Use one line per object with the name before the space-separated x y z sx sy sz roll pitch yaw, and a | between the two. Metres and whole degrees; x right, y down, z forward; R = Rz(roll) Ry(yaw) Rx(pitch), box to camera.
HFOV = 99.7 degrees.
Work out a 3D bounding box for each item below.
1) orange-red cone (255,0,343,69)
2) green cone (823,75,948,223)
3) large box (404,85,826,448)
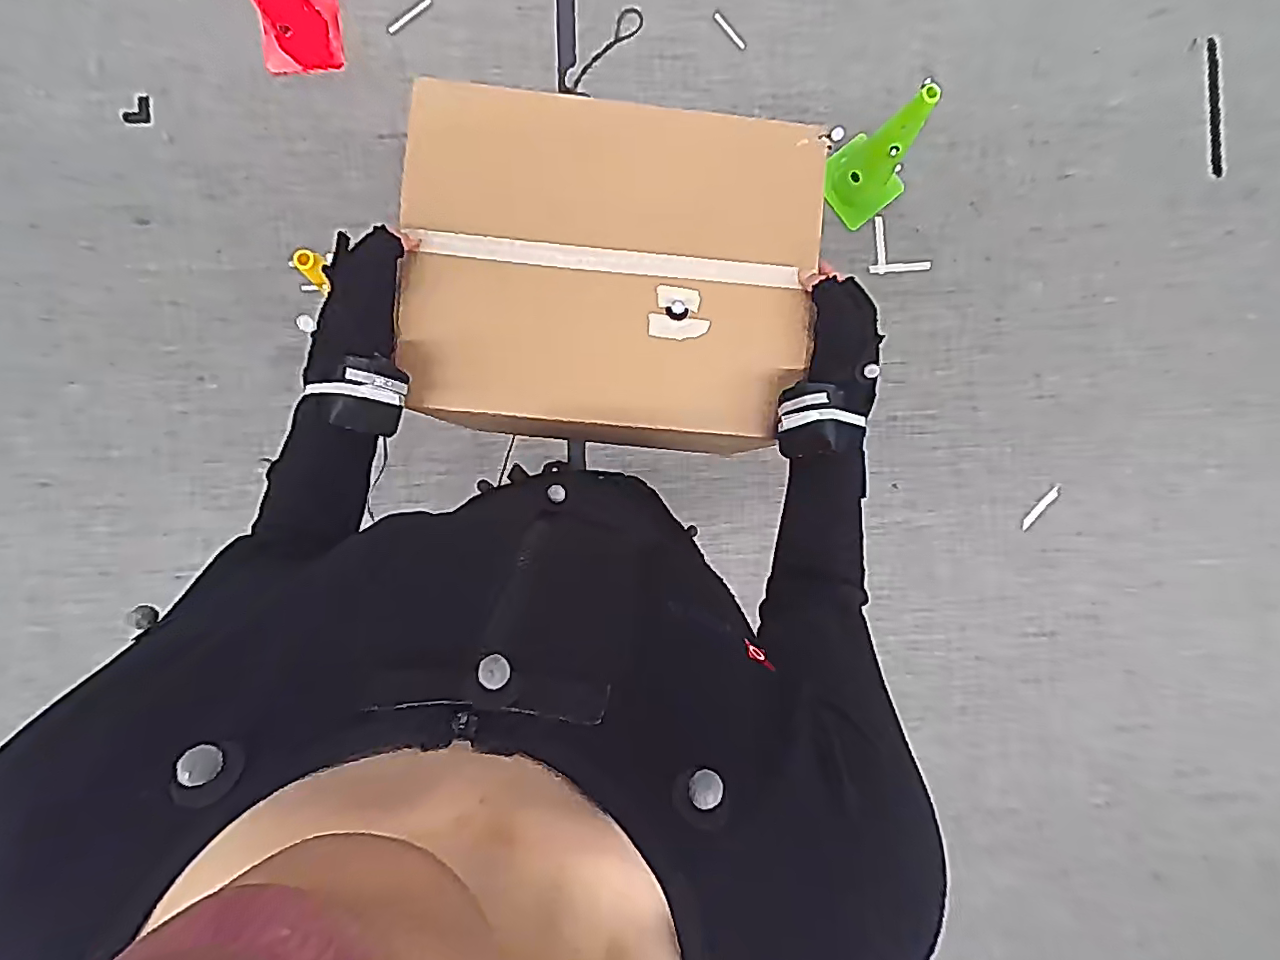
orange-red cone | -0.880 -1.176 1.249 0.198 0.360 0.199 -5 93 -1
green cone | 0.617 -0.832 1.317 0.202 0.368 0.200 -40 93 -3
large box | -0.031 -0.215 0.678 0.408 0.320 0.320 5 90 -4
